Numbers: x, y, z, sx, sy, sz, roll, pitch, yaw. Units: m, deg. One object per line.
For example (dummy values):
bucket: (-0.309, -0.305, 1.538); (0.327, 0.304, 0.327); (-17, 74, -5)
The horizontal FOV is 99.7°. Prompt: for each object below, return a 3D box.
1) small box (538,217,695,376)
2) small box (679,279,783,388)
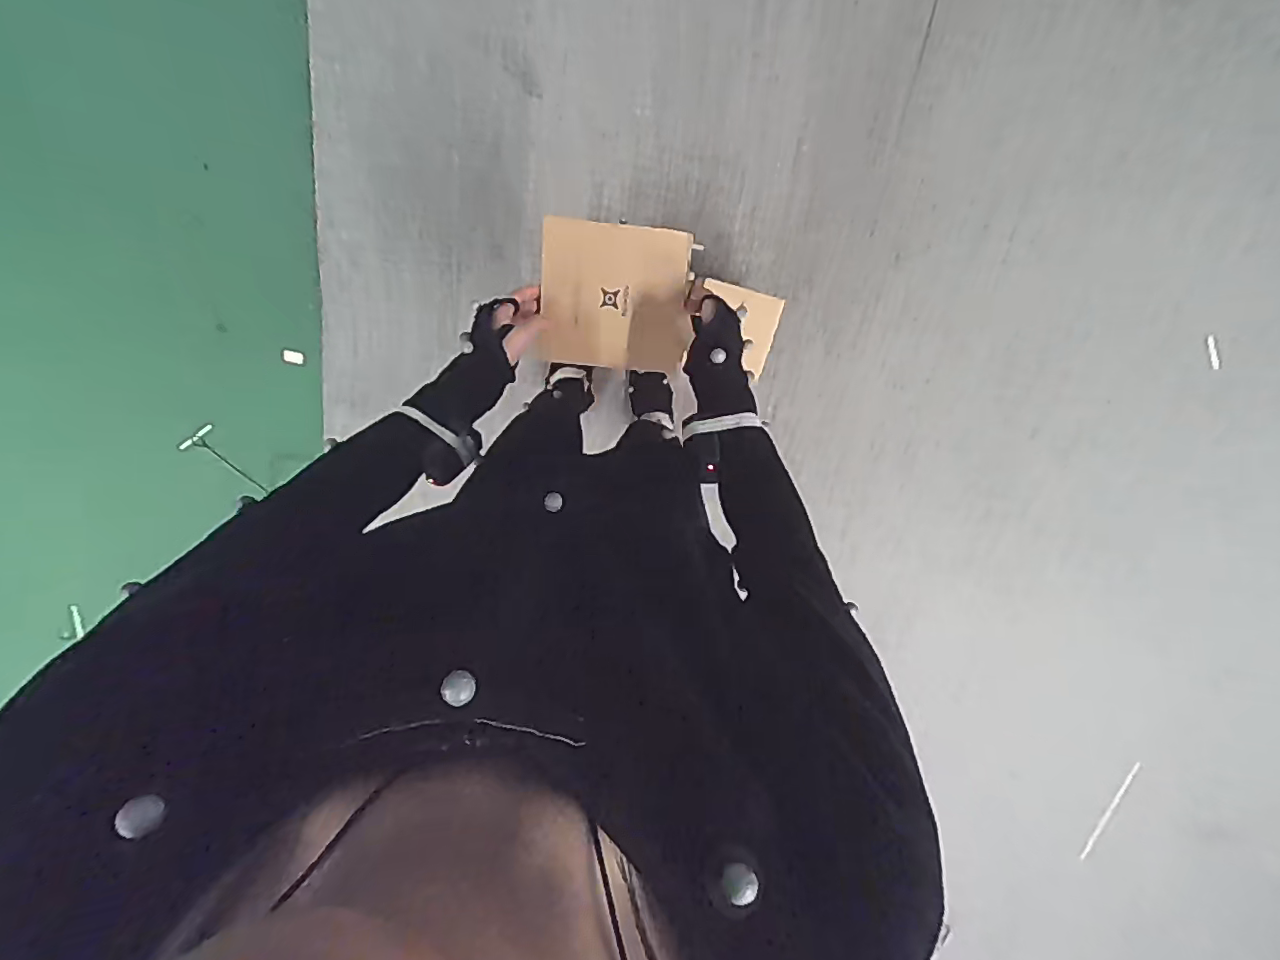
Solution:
small box: (-0.032, -0.242, 0.718); (0.179, 0.176, 0.168); (6, 110, -2)
small box: (0.181, -0.315, 1.147); (0.168, 0.176, 0.179); (14, 110, -5)
